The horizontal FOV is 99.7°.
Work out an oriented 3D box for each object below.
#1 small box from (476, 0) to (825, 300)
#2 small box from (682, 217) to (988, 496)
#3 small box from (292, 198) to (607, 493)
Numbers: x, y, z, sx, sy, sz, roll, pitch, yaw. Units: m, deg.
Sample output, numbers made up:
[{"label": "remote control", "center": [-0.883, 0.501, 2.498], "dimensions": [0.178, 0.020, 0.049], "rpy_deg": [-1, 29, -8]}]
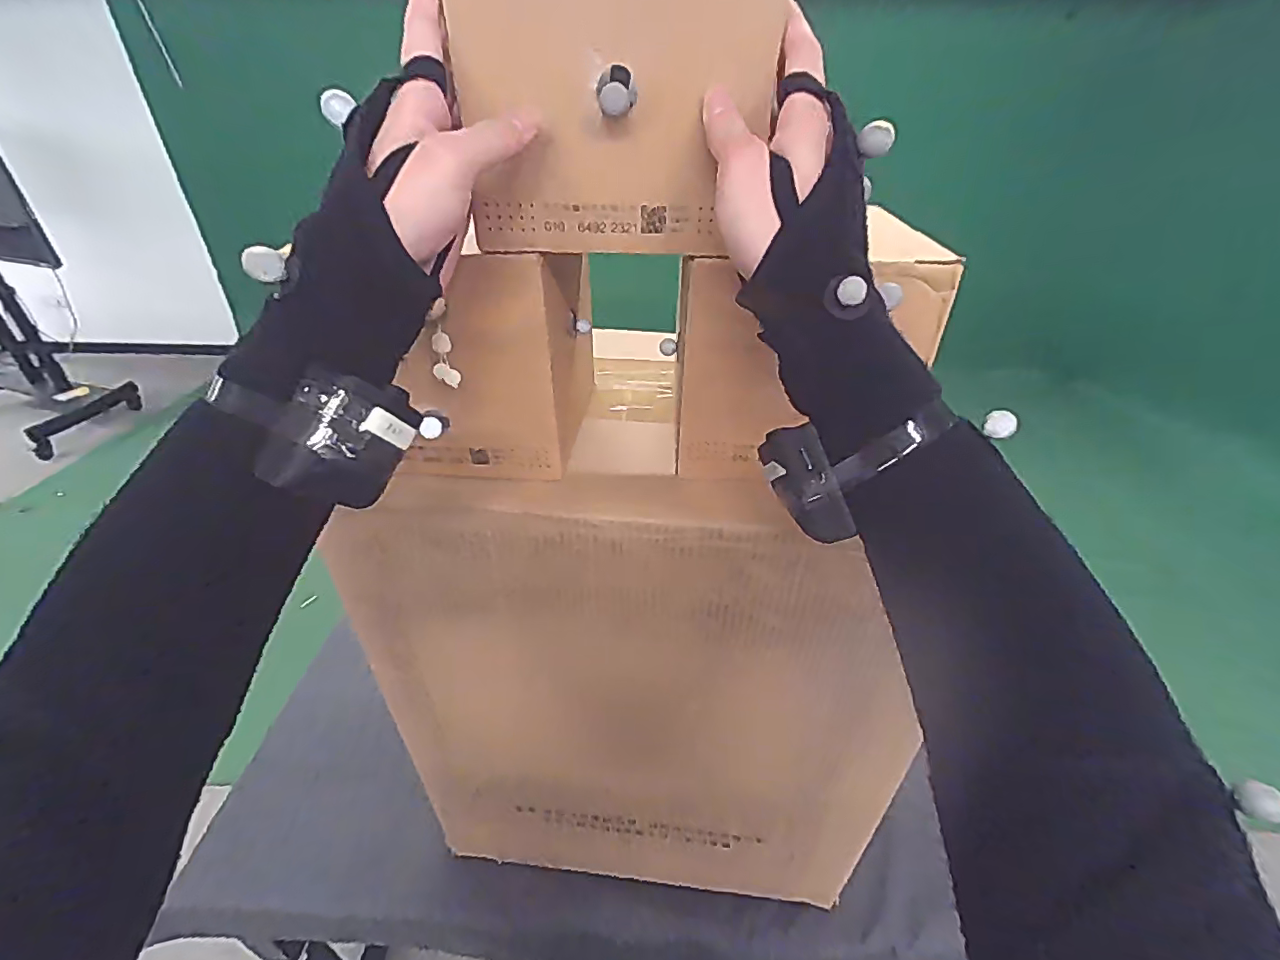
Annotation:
[{"label": "small box", "center": [0.004, -0.223, 0.344], "dimensions": [0.168, 0.176, 0.179], "rpy_deg": [-1, 37, -3]}, {"label": "small box", "center": [0.125, -0.102, 0.433], "dimensions": [0.168, 0.176, 0.179], "rpy_deg": [3, 36, -1]}, {"label": "small box", "center": [-0.120, -0.112, 0.428], "dimensions": [0.168, 0.176, 0.179], "rpy_deg": [4, 37, 6]}]
